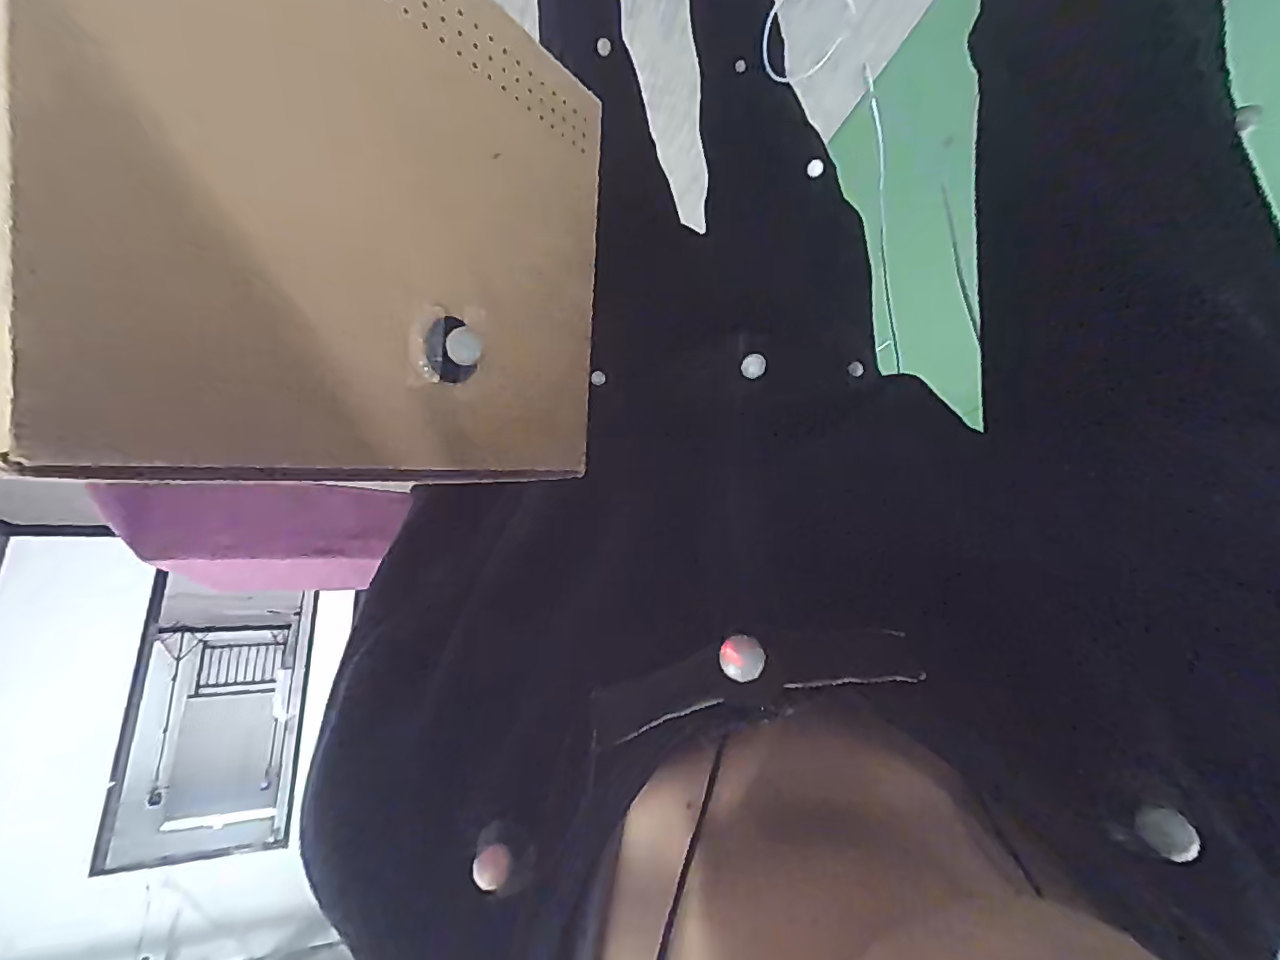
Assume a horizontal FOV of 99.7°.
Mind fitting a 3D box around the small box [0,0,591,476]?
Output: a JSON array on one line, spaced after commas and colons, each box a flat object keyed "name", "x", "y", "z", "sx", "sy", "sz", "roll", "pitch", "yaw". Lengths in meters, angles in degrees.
[{"name": "small box", "x": -0.131, "y": -0.092, "z": 0.204, "sx": 0.168, "sy": 0.176, "sz": 0.179, "roll": 4, "pitch": -179, "yaw": 31}]
